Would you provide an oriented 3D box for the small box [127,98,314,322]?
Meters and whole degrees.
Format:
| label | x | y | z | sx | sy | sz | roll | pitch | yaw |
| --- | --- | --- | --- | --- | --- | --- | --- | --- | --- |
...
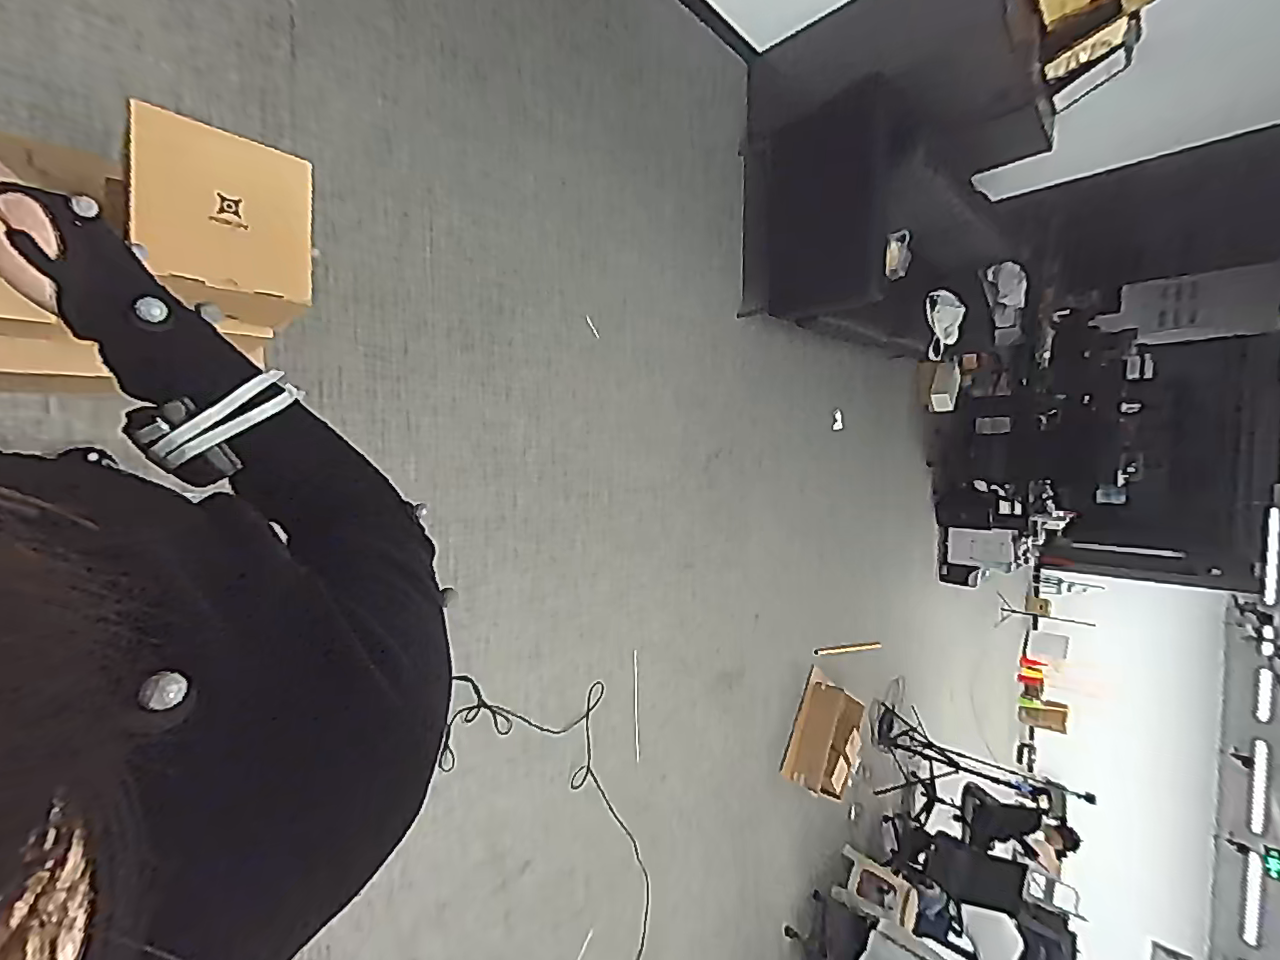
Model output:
| label | x | y | z | sx | sy | sz | roll | pitch | yaw |
| --- | --- | --- | --- | --- | --- | --- | --- | --- | --- |
| small box | -0.521 | -0.311 | 0.671 | 0.168 | 0.176 | 0.179 | 0 | 92 | -45 |
